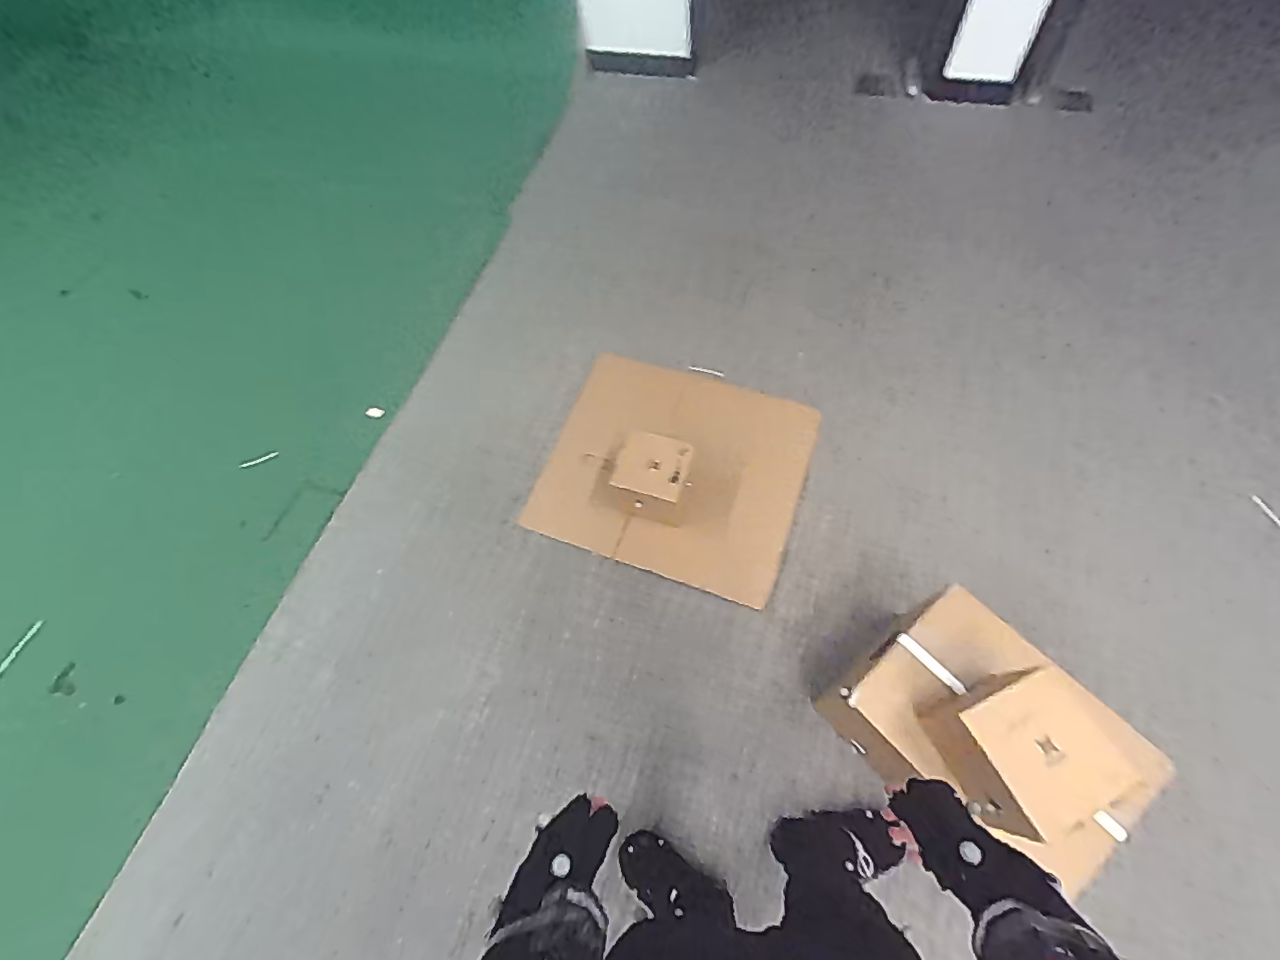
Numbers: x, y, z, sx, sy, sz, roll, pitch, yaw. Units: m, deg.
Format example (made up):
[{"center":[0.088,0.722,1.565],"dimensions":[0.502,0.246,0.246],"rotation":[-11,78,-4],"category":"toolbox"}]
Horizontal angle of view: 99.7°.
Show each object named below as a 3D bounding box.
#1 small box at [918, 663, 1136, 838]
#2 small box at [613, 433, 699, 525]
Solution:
[{"center":[0.572,0.406,0.829],"dimensions":[0.168,0.176,0.179],"rotation":[-26,64,-6],"category":"small box"},{"center":[0.049,0.001,1.411],"dimensions":[0.179,0.176,0.168],"rotation":[12,65,14],"category":"small box"}]
